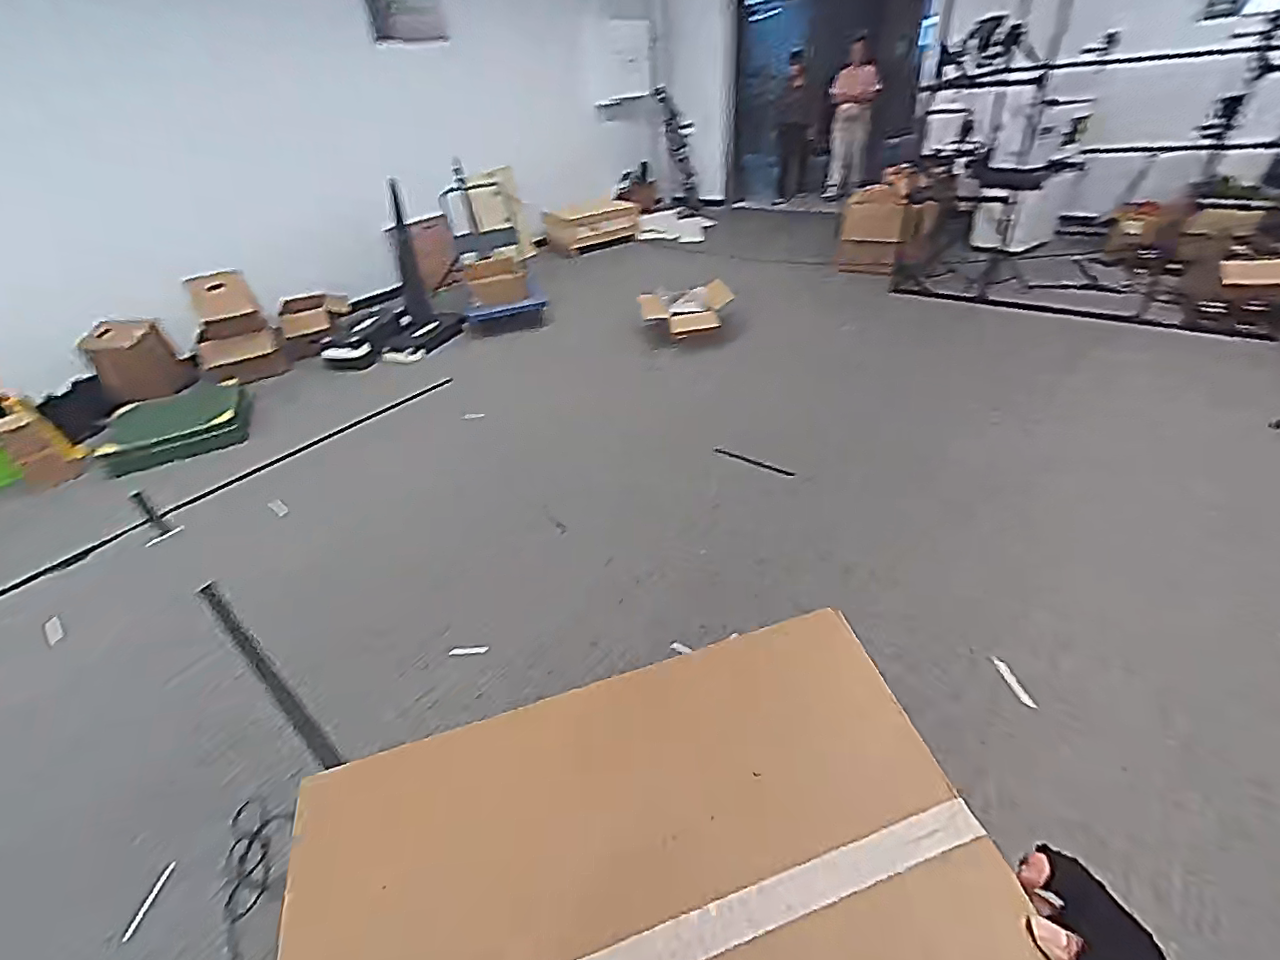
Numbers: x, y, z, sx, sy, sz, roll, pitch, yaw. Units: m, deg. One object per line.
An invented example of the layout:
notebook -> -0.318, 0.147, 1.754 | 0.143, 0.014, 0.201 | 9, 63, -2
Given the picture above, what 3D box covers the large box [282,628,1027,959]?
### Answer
large box -> 0.014, 0.376, 0.407 | 0.408, 0.320, 0.320 | -16, 46, -11
